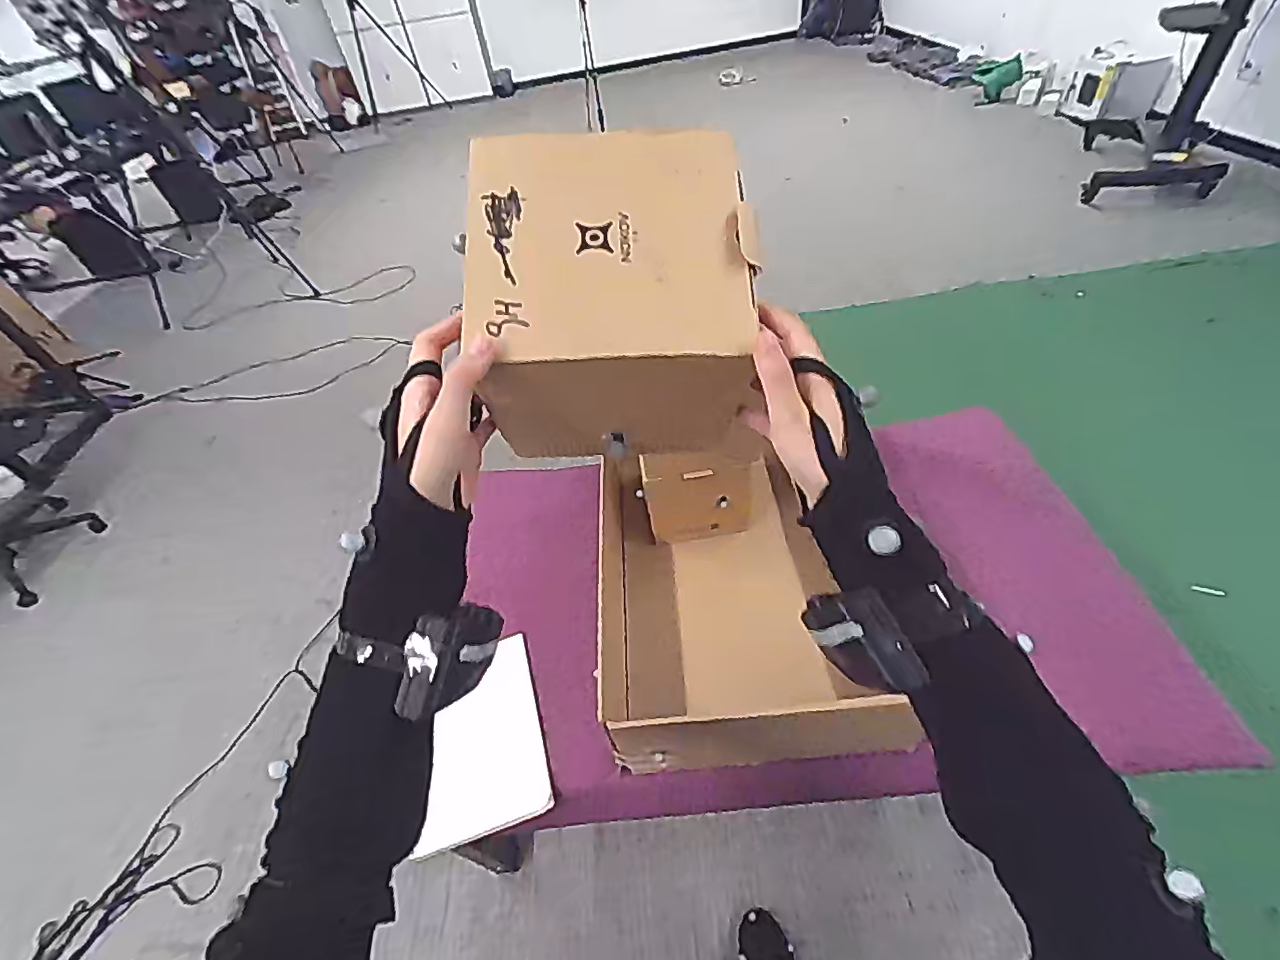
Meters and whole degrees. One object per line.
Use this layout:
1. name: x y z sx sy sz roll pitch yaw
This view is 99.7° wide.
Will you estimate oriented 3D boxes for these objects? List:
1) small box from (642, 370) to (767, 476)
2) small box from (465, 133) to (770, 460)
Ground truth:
1. small box: 0.077 -0.128 0.795 0.179 0.176 0.168 -9 46 1
2. small box: -0.018 -0.119 0.404 0.179 0.176 0.168 -1 72 -3
